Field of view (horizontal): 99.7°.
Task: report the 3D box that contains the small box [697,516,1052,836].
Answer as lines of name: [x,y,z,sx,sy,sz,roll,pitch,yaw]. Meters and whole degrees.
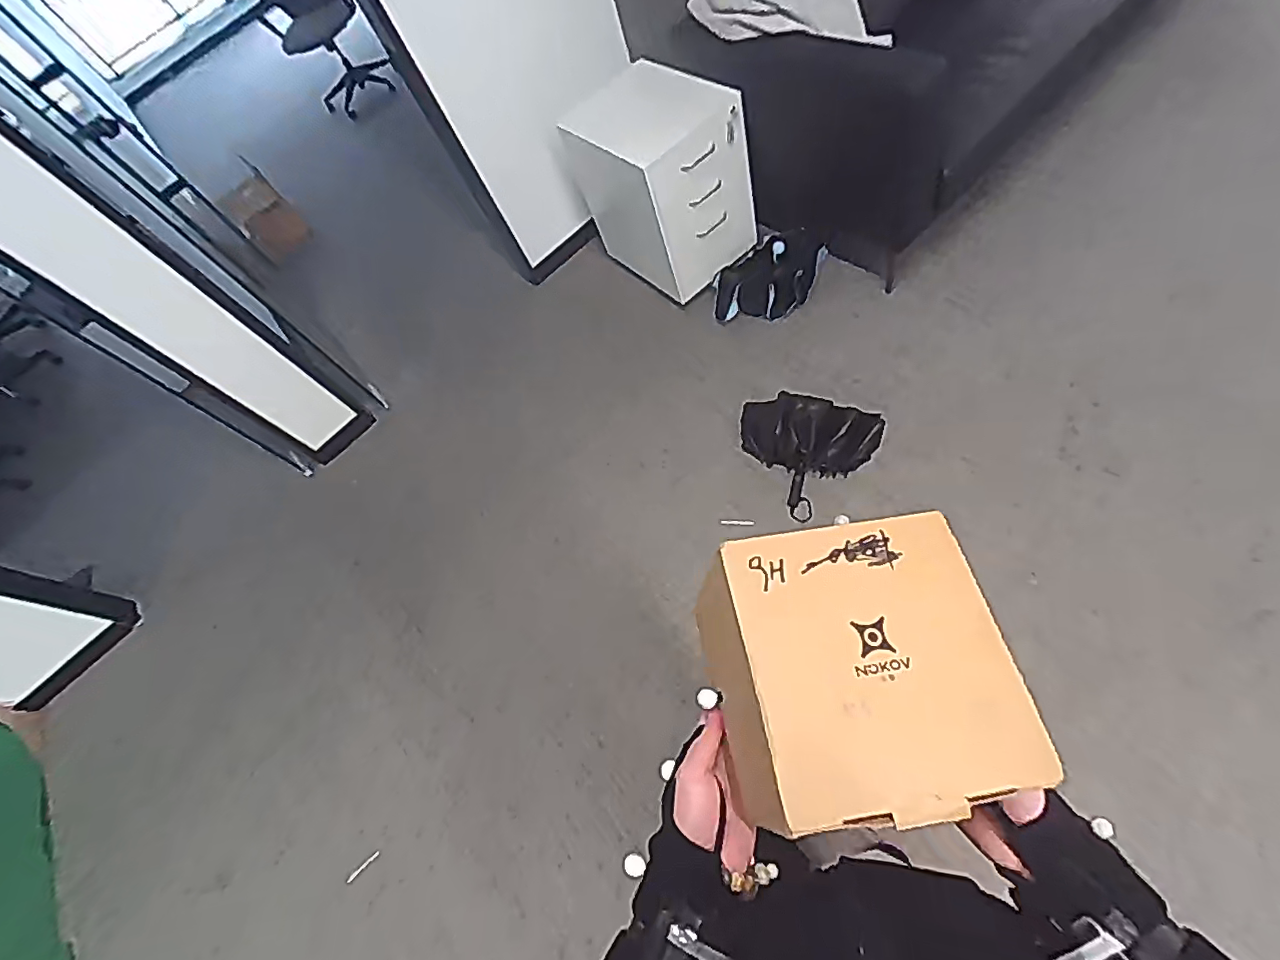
small box: [0.146,0.146,0.414,0.168,0.176,0.179,-7,63,-6]
